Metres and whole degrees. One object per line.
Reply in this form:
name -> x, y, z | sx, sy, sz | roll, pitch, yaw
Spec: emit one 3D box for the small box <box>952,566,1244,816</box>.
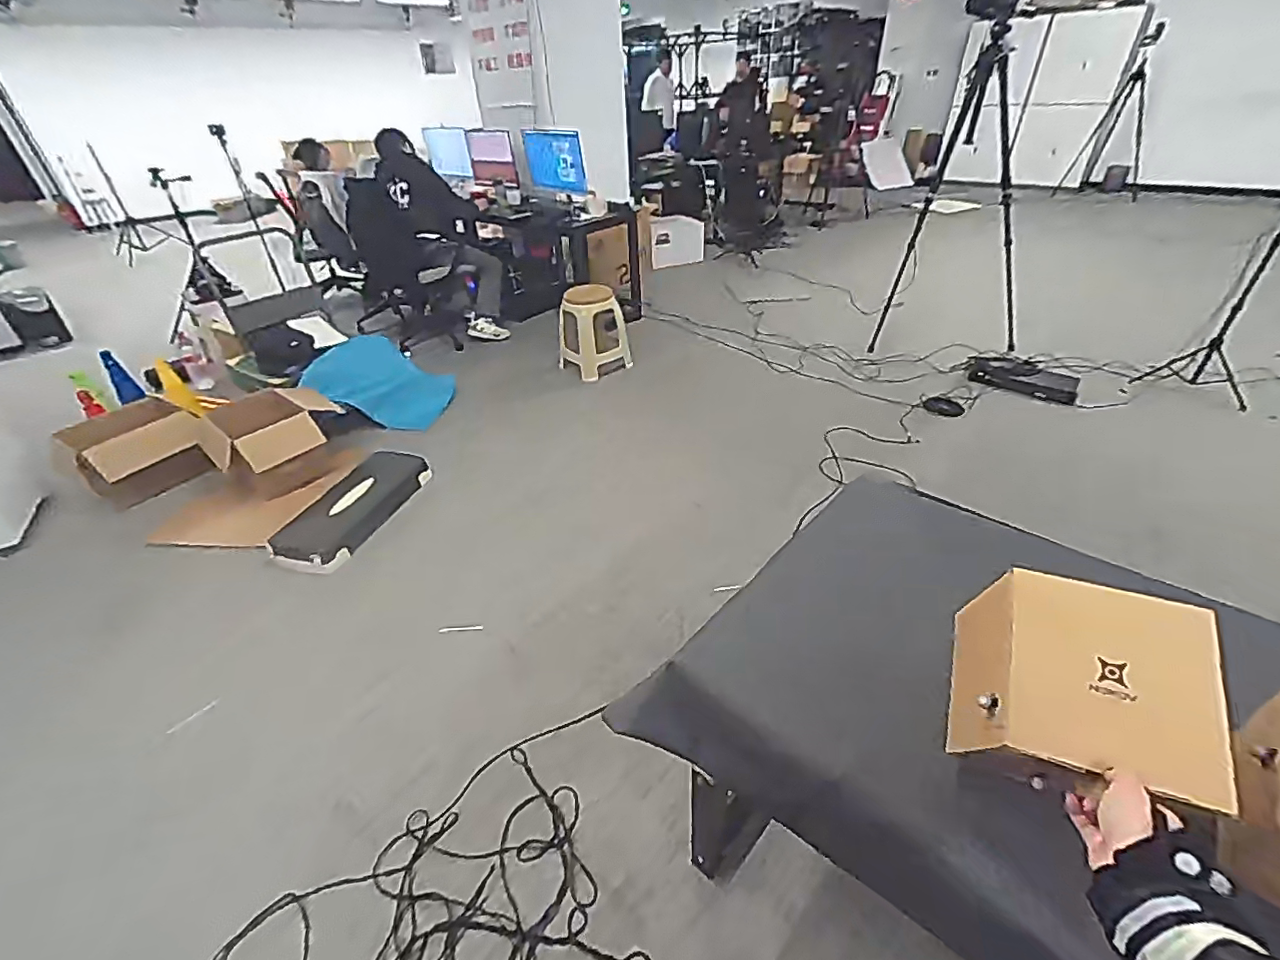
small box -> 0.439, 0.214, 0.553 | 0.168, 0.176, 0.179 | 12, 64, 17
